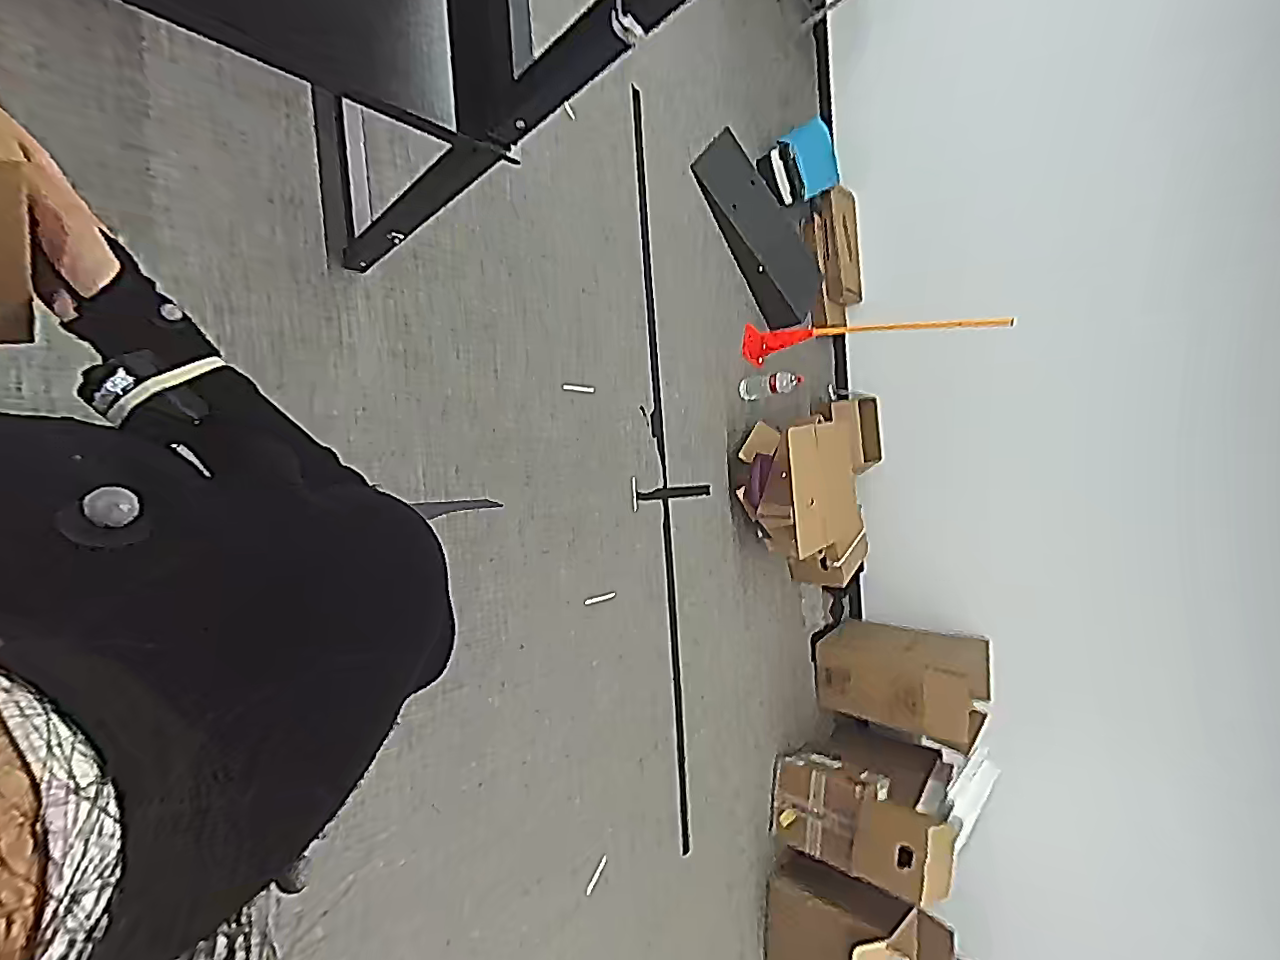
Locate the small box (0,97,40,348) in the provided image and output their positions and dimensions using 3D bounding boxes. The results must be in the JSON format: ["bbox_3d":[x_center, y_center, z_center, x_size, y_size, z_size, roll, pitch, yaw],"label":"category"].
[{"bbox_3d":[-0.481,-0.191,0.297,0.168,0.176,0.179,-25,83,-51],"label":"small box"}]
